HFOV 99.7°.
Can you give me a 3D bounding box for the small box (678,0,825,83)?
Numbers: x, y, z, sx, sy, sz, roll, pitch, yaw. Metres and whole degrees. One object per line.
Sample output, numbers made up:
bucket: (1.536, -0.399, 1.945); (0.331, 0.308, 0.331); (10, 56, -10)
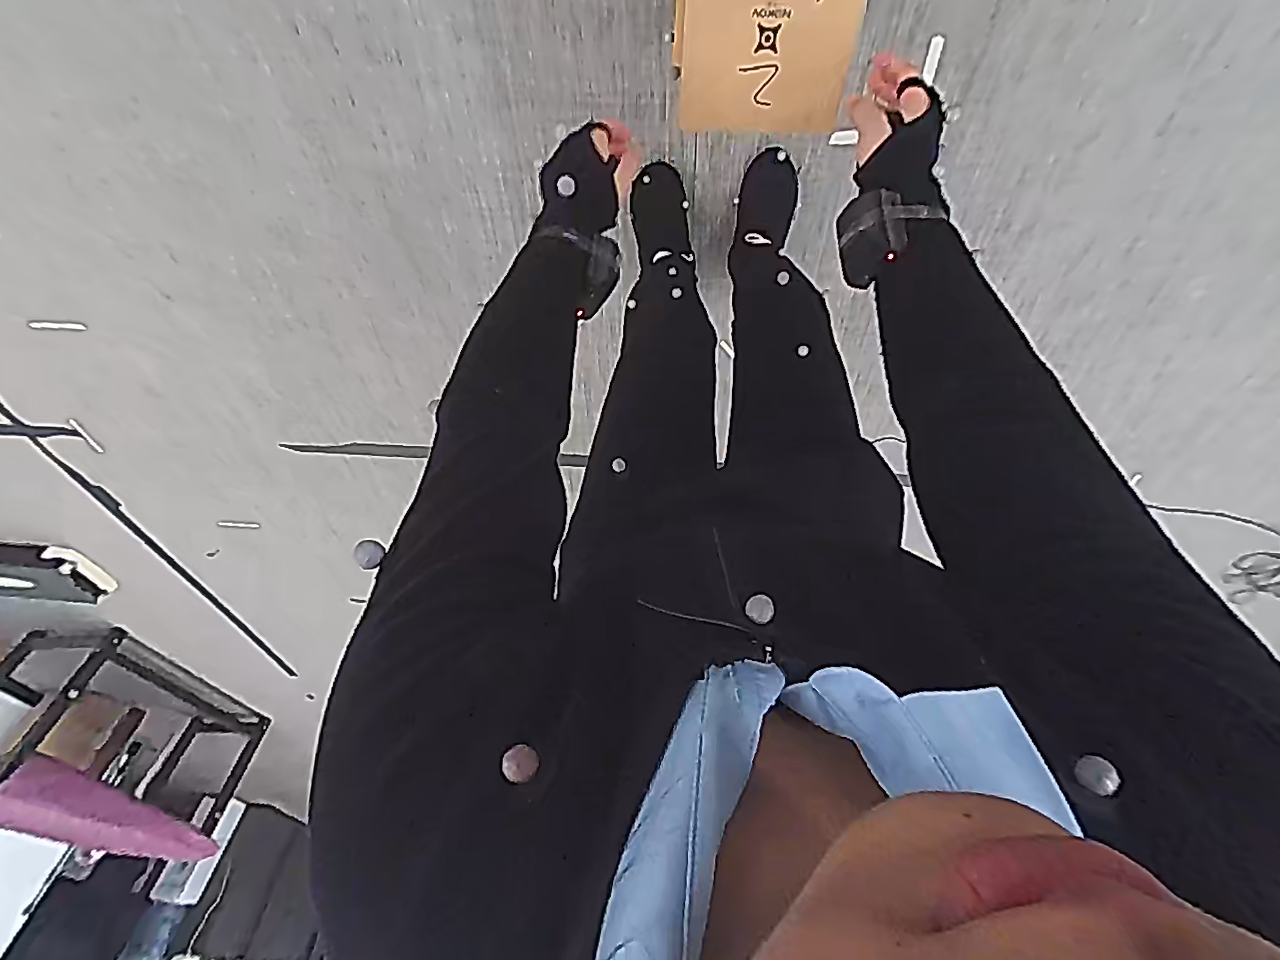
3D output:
small box: (0.134, -0.613, 0.667); (0.168, 0.176, 0.179); (3, 136, 2)
